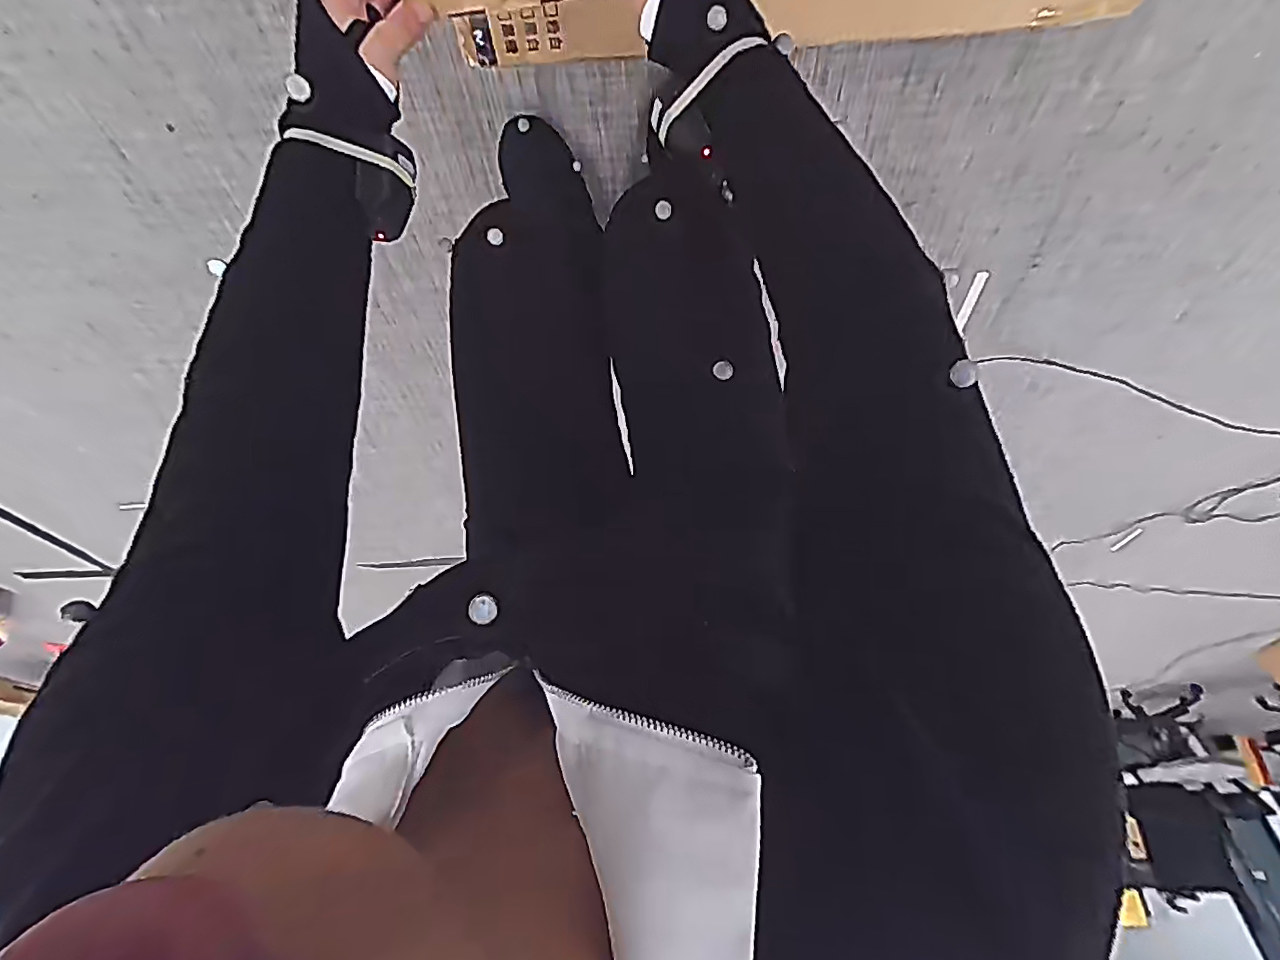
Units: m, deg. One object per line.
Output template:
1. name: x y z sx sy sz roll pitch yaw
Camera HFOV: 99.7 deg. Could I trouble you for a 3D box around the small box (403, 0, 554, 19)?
1. small box: -0.110 -0.483 0.400 0.168 0.176 0.179 -4 143 5
